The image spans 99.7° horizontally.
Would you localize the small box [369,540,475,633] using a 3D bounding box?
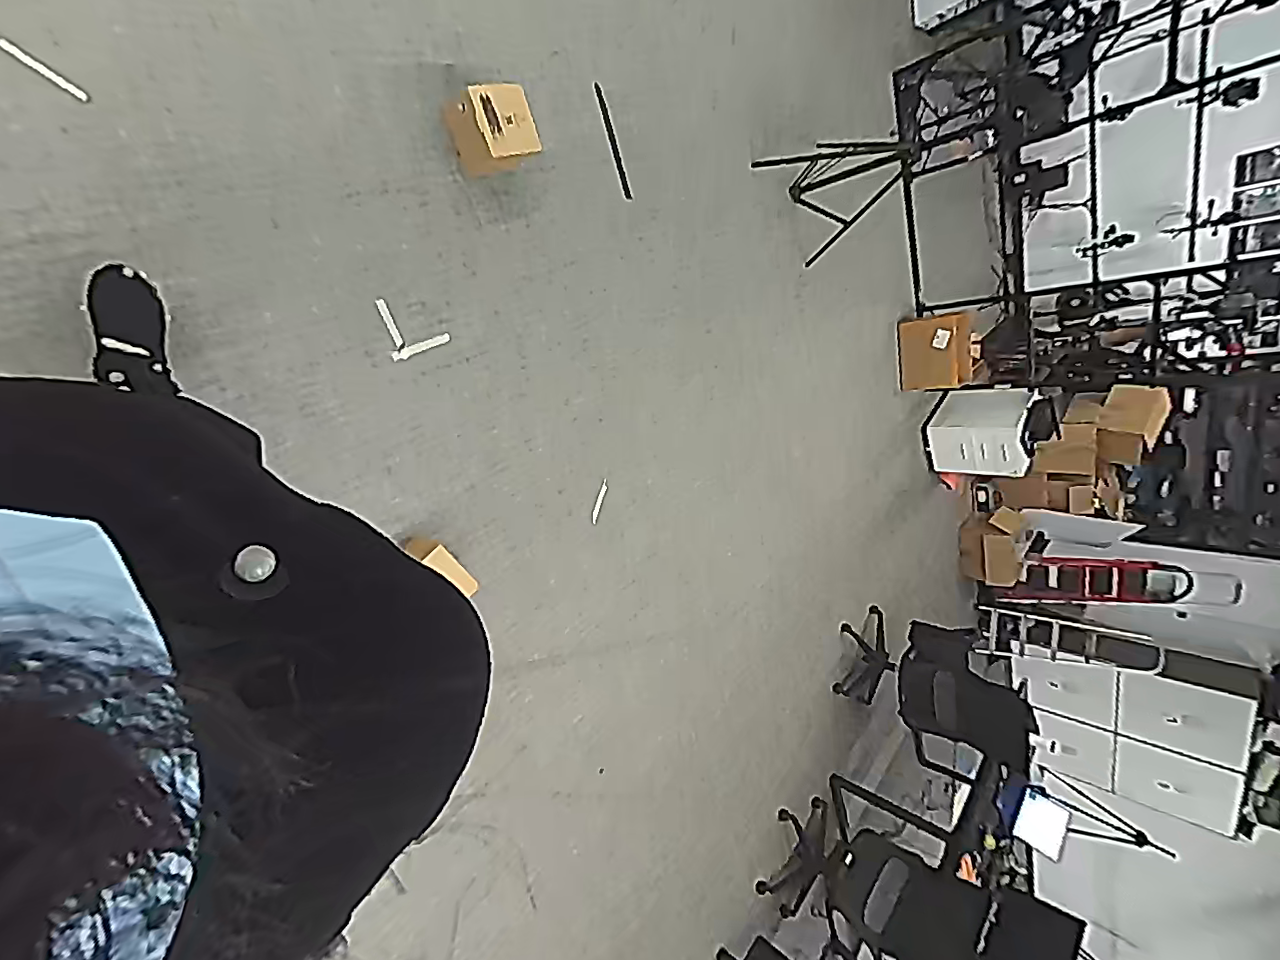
[{"bbox_3d":[-0.589,0.278,1.452,0.168,0.176,0.179,-49,125,-29],"label":"small box"}]
